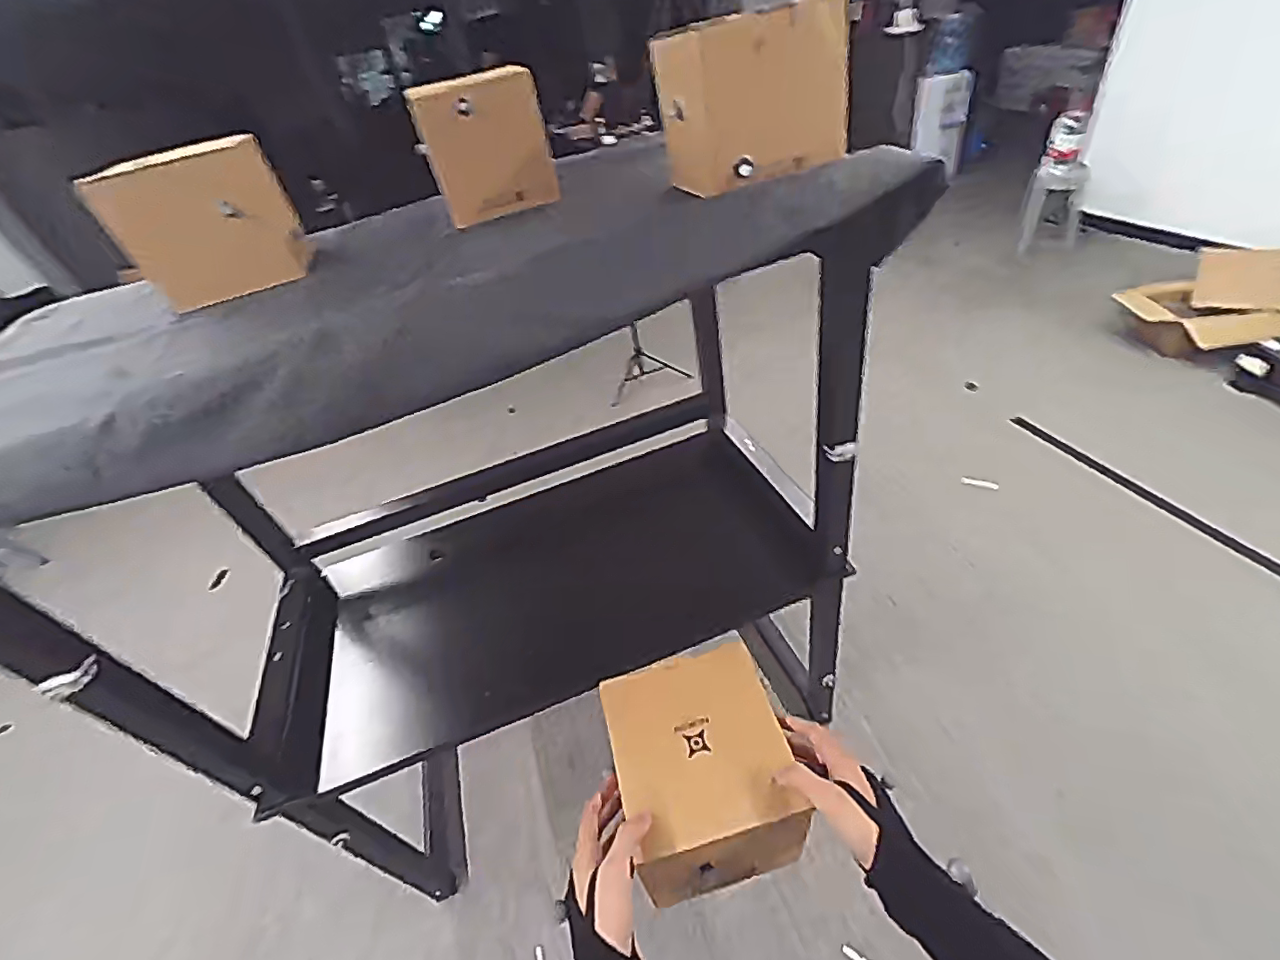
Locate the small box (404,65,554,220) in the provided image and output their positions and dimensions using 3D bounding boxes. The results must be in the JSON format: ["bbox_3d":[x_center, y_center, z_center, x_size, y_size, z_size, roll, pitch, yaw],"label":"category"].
[{"bbox_3d":[-0.248,-0.521,0.838,0.168,0.176,0.179,-21,40,-8],"label":"small box"}]

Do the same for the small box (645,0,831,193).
[{"bbox_3d":[0.122,-0.470,0.666,0.168,0.176,0.179,-19,37,-6],"label":"small box"}]
